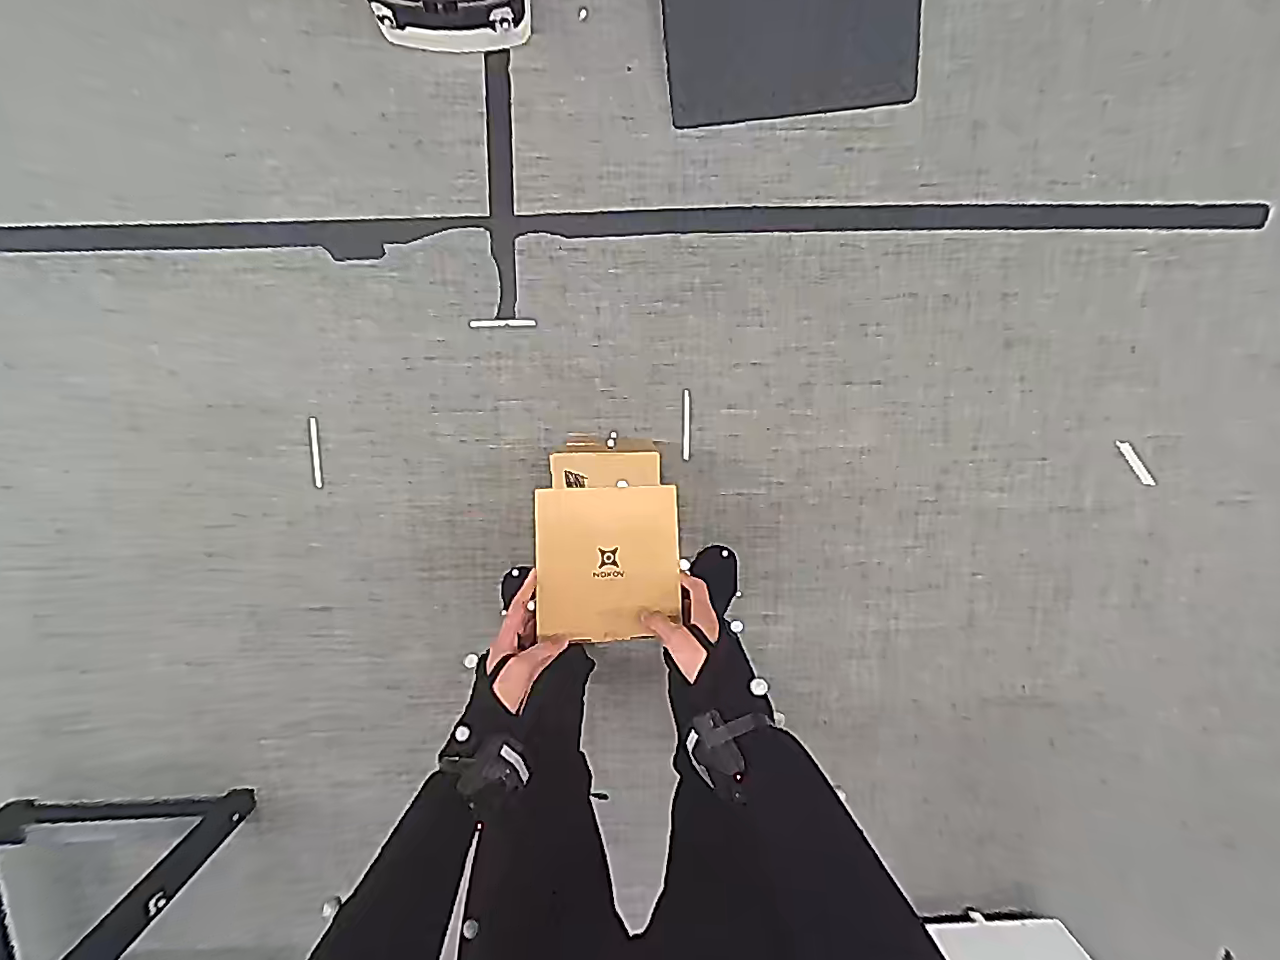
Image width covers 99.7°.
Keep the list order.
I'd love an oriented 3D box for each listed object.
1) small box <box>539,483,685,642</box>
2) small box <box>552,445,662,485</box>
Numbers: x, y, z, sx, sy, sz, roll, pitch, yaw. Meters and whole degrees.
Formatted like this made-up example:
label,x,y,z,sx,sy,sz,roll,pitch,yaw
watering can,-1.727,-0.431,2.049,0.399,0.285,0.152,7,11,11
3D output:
label,x,y,z,sx,sy,sz,roll,pitch,yaw
small box,-0.039,0.101,0.688,0.168,0.176,0.179,-2,83,-4
small box,-0.054,0.029,0.936,0.179,0.176,0.168,-1,98,-2
